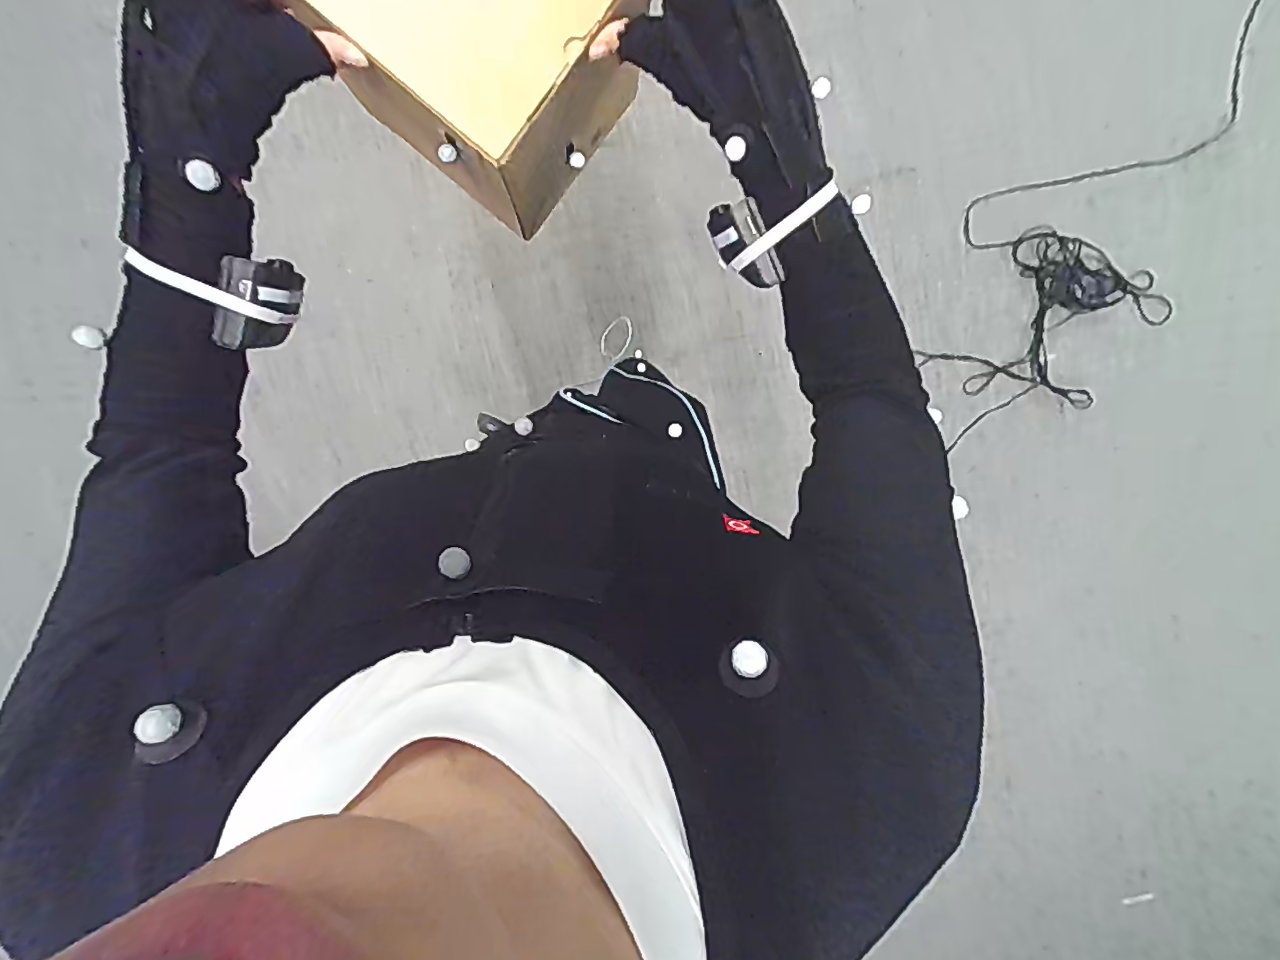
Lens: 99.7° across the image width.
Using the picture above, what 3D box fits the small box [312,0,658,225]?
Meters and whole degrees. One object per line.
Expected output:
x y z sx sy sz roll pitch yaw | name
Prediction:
-0.108 -0.328 0.404 0.179 0.176 0.168 38 93 -10 | small box
